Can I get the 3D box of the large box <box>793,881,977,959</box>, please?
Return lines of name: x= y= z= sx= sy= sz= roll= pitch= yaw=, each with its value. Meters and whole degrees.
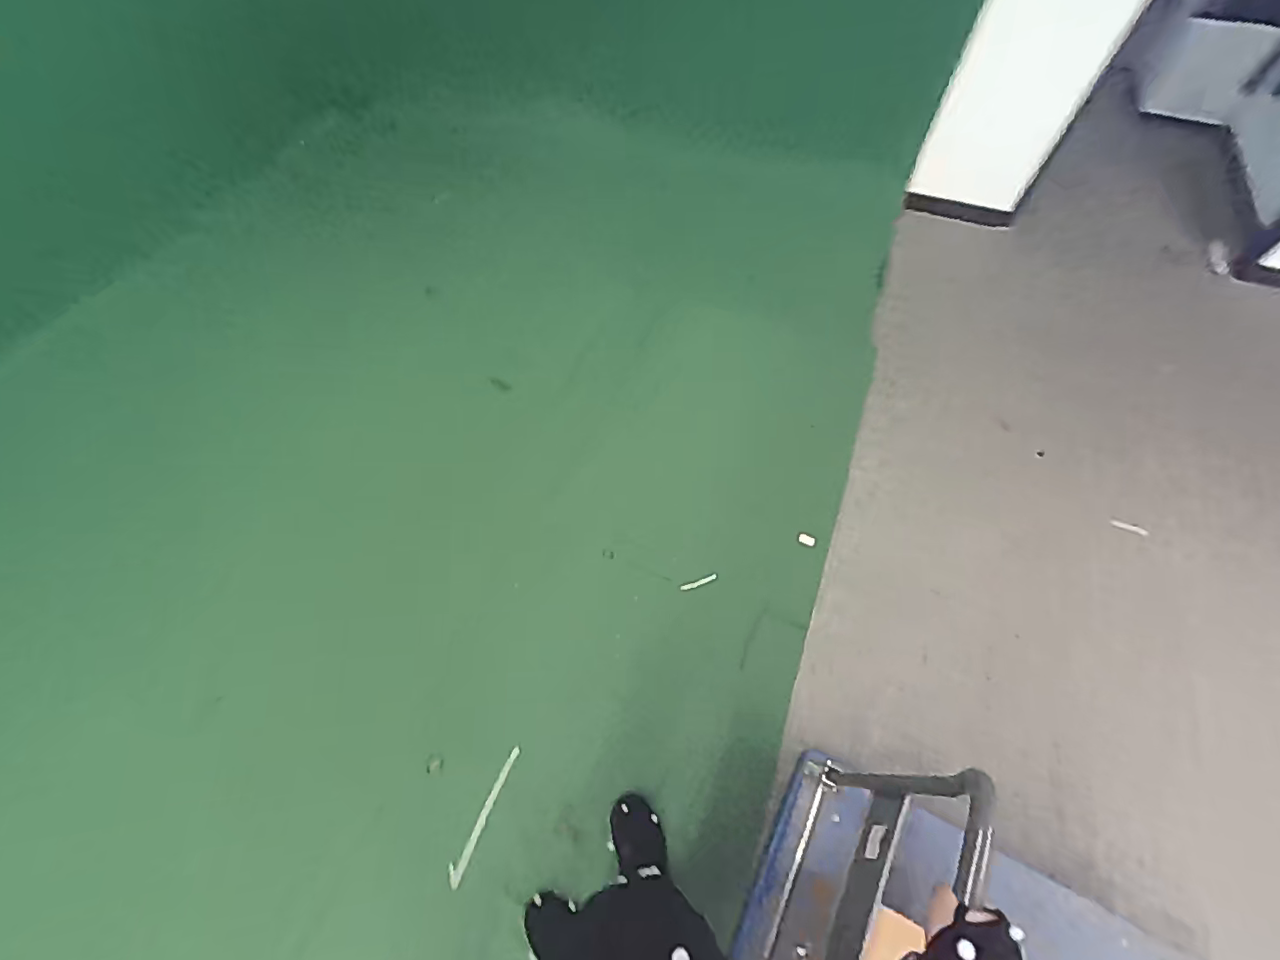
large box: x=0.476 y=0.952 z=0.898 sx=0.408 sy=0.320 sz=0.320 roll=24 pitch=63 yaw=12
